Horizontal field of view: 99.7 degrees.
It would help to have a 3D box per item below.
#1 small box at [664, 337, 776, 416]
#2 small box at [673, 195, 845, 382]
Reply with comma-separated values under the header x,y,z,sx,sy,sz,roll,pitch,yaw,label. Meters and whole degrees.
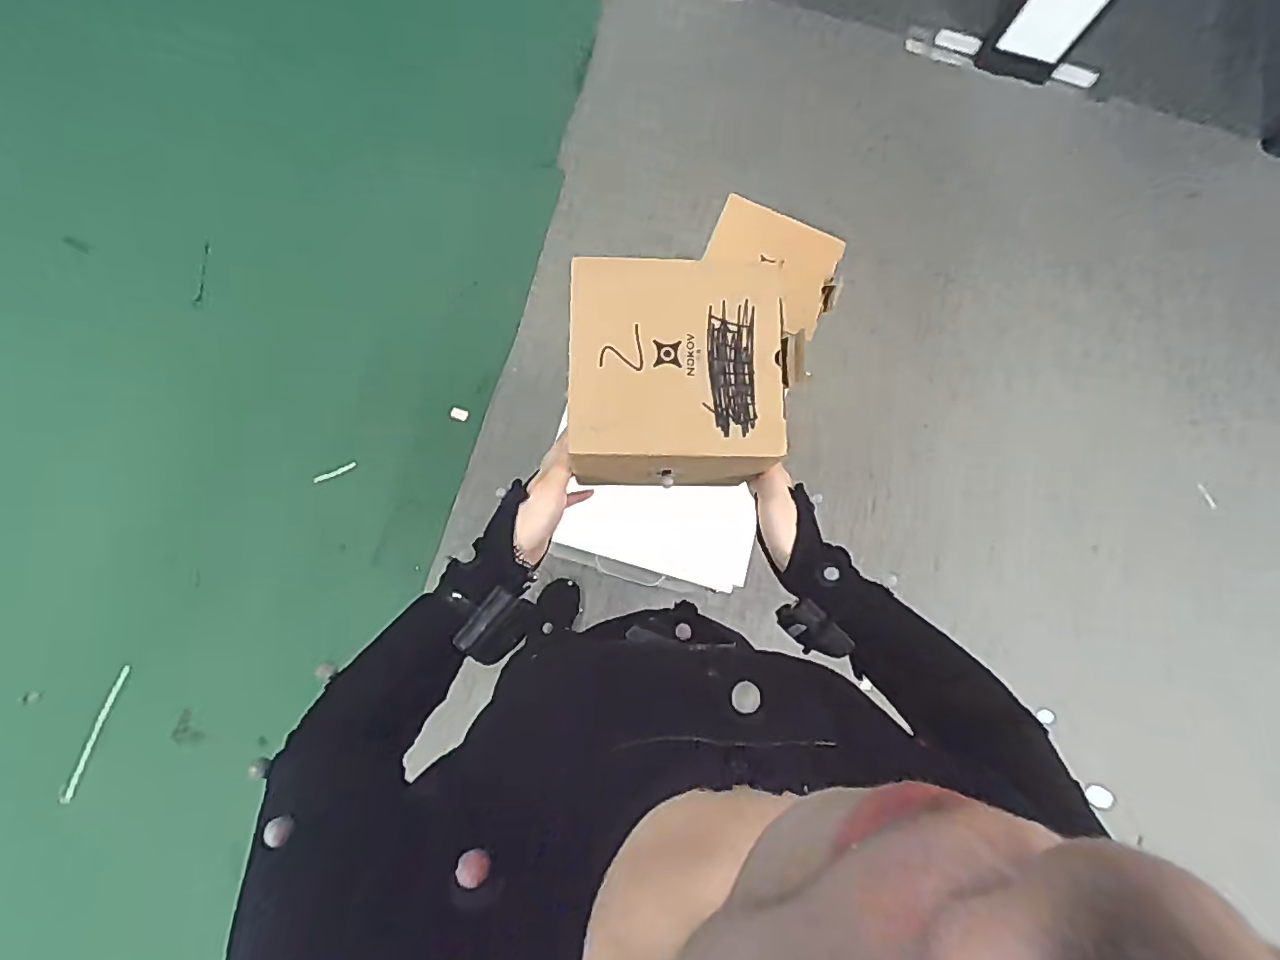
x,y,z,sx,sy,sz,roll,pitch,yaw,label
0.153,-0.233,0.955,0.179,0.176,0.168,23,77,1,small box
0.163,-0.268,0.796,0.179,0.176,0.168,23,76,-1,small box
